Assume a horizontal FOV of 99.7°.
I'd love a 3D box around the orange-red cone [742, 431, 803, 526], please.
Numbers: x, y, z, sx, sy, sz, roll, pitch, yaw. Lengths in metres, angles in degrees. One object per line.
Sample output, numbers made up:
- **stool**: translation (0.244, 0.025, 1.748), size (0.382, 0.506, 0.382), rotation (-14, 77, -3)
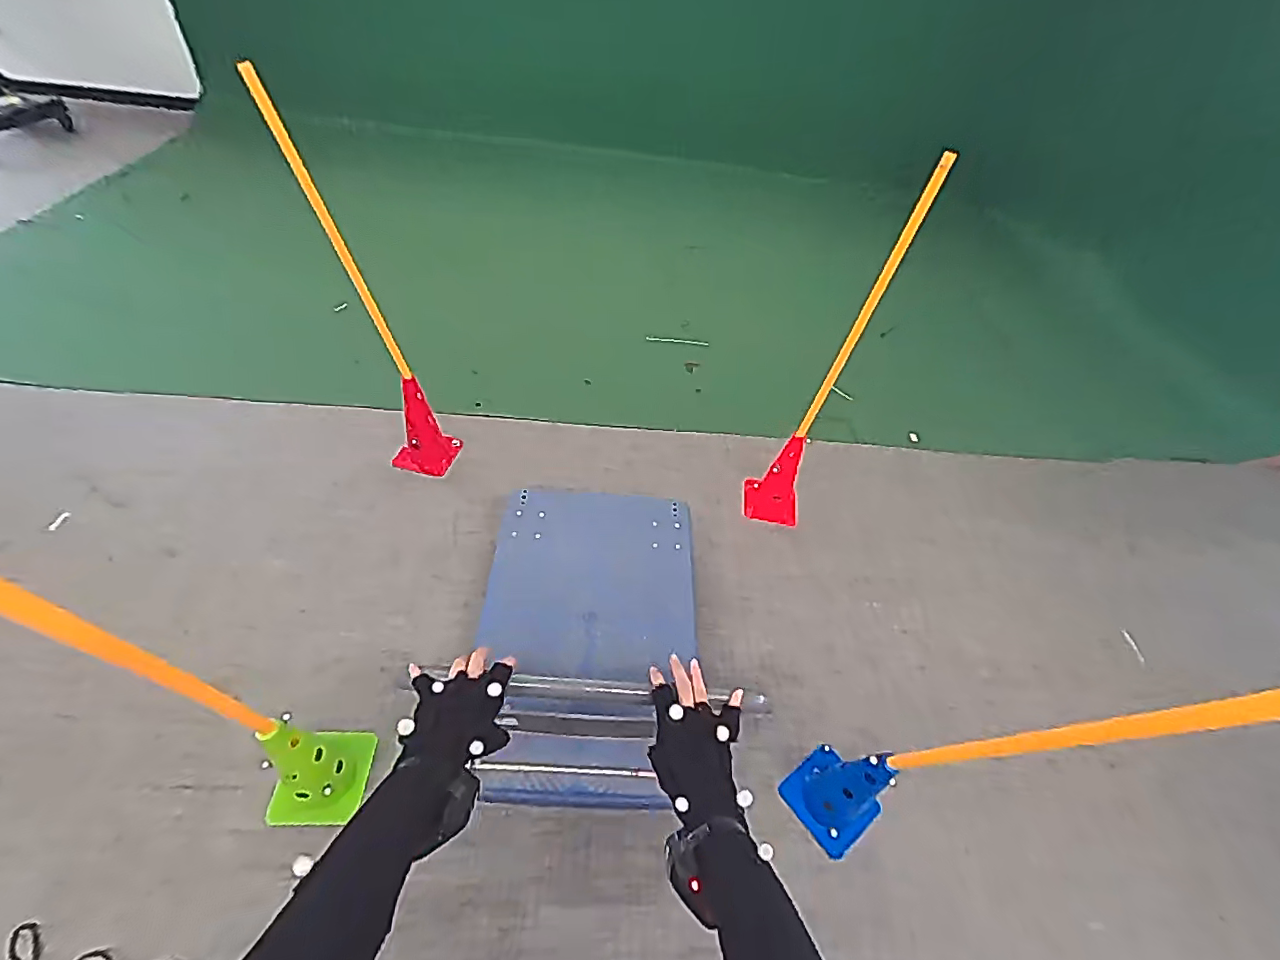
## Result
- **orange-red cone**: translation (0.504, -0.031, 1.908), size (0.198, 0.360, 0.199), rotation (12, 48, 3)
